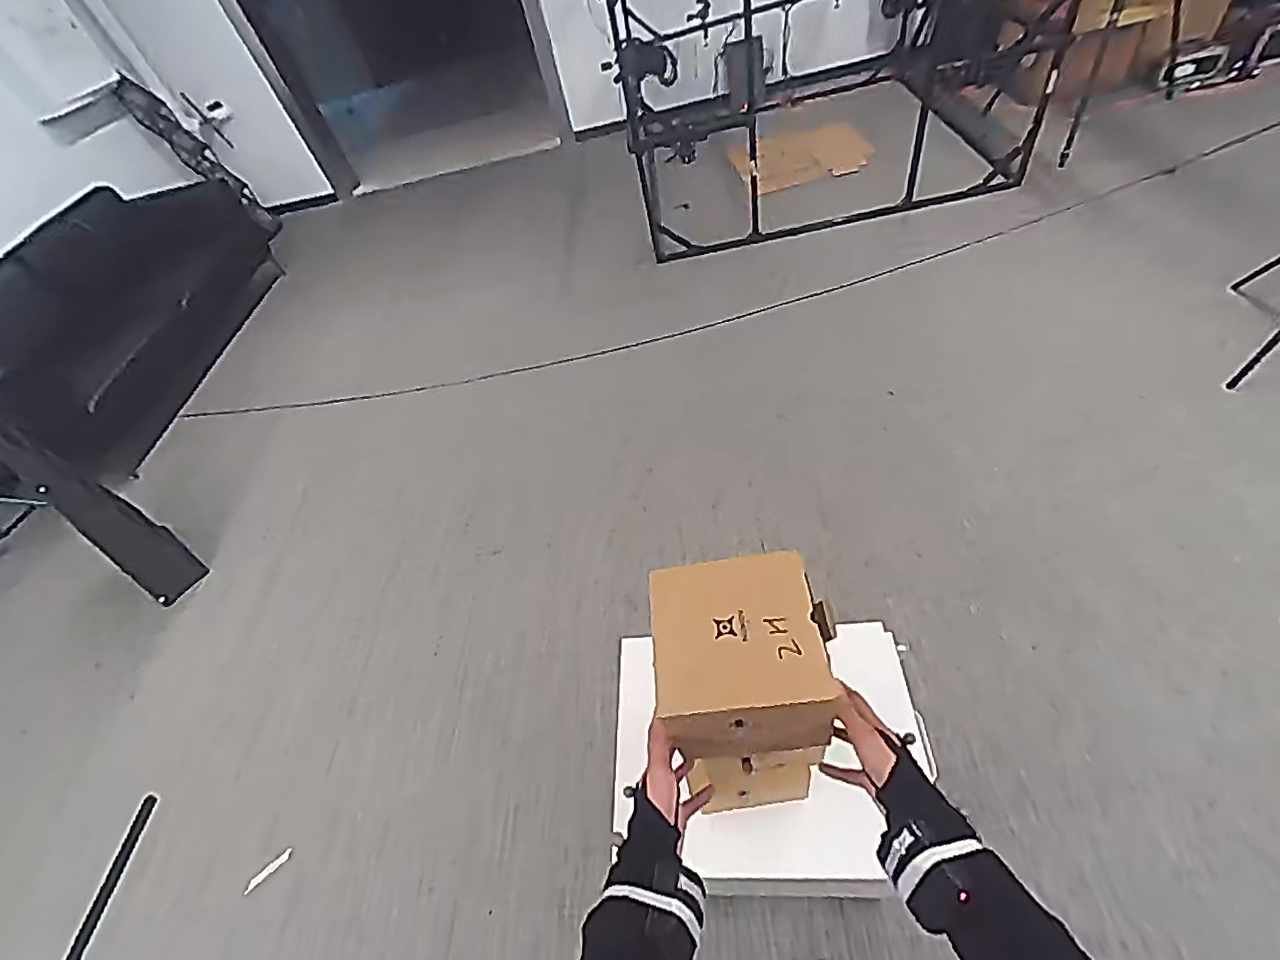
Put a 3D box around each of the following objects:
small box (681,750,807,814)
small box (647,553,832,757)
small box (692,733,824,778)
[{"bbox_3d":[0.160,0.422,0.872,0.179,0.176,0.168,-12,49,4],"label":"small box"},{"bbox_3d":[0.112,0.209,0.627,0.179,0.176,0.168,-9,49,8],"label":"small box"},{"bbox_3d":[0.151,0.302,0.758,0.168,0.176,0.179,-12,48,6],"label":"small box"}]
